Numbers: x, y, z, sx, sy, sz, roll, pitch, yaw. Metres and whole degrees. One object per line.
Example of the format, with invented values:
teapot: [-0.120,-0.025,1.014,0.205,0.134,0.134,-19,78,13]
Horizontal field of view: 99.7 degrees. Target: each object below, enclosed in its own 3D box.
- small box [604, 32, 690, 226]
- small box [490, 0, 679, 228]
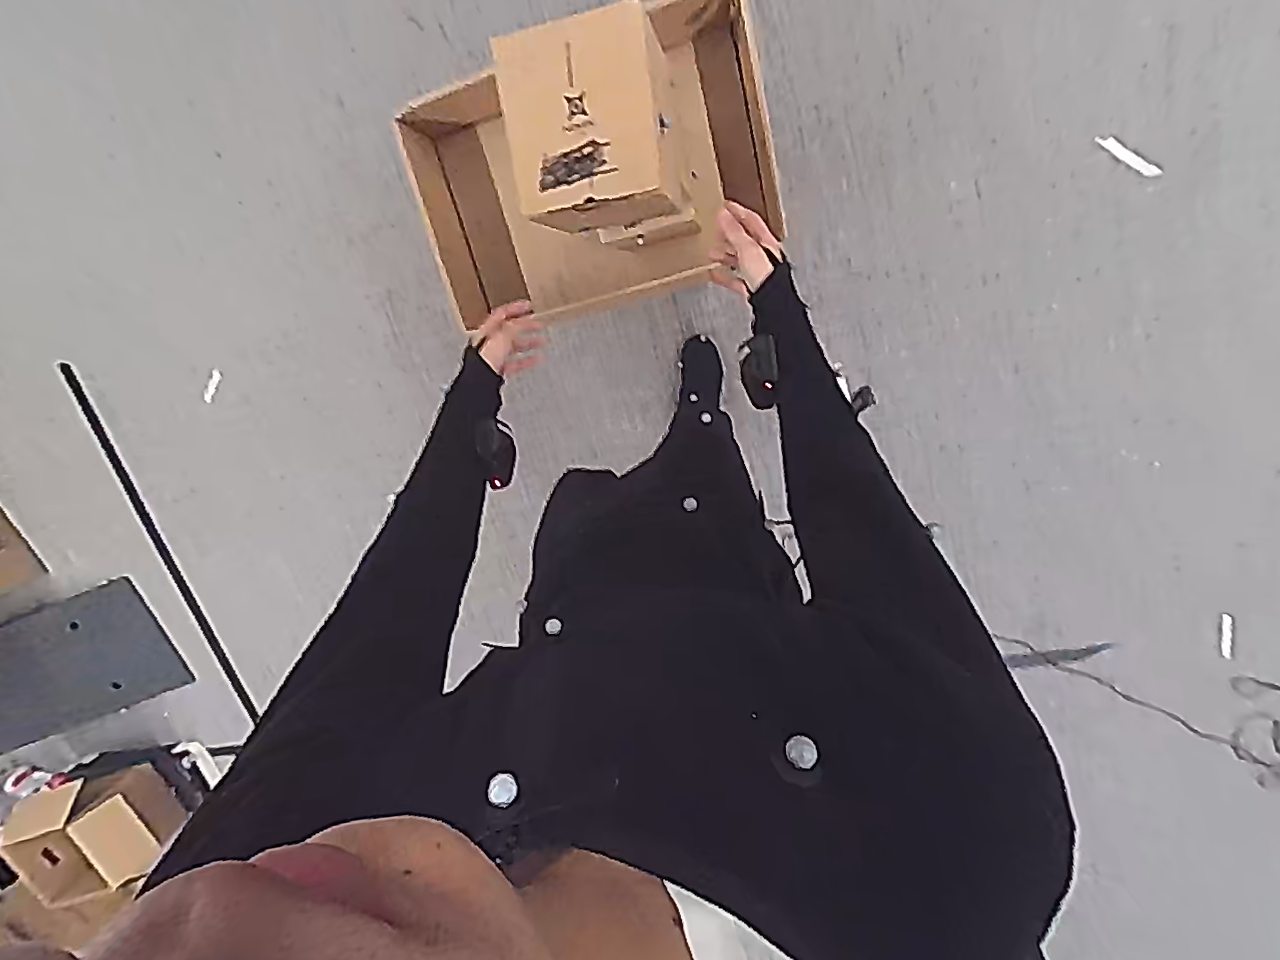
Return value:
small box: [-0.028,-0.490,0.786,0.168,0.176,0.179,-9,107,15]
small box: [-0.051,-0.407,0.642,0.168,0.176,0.179,-4,107,13]
